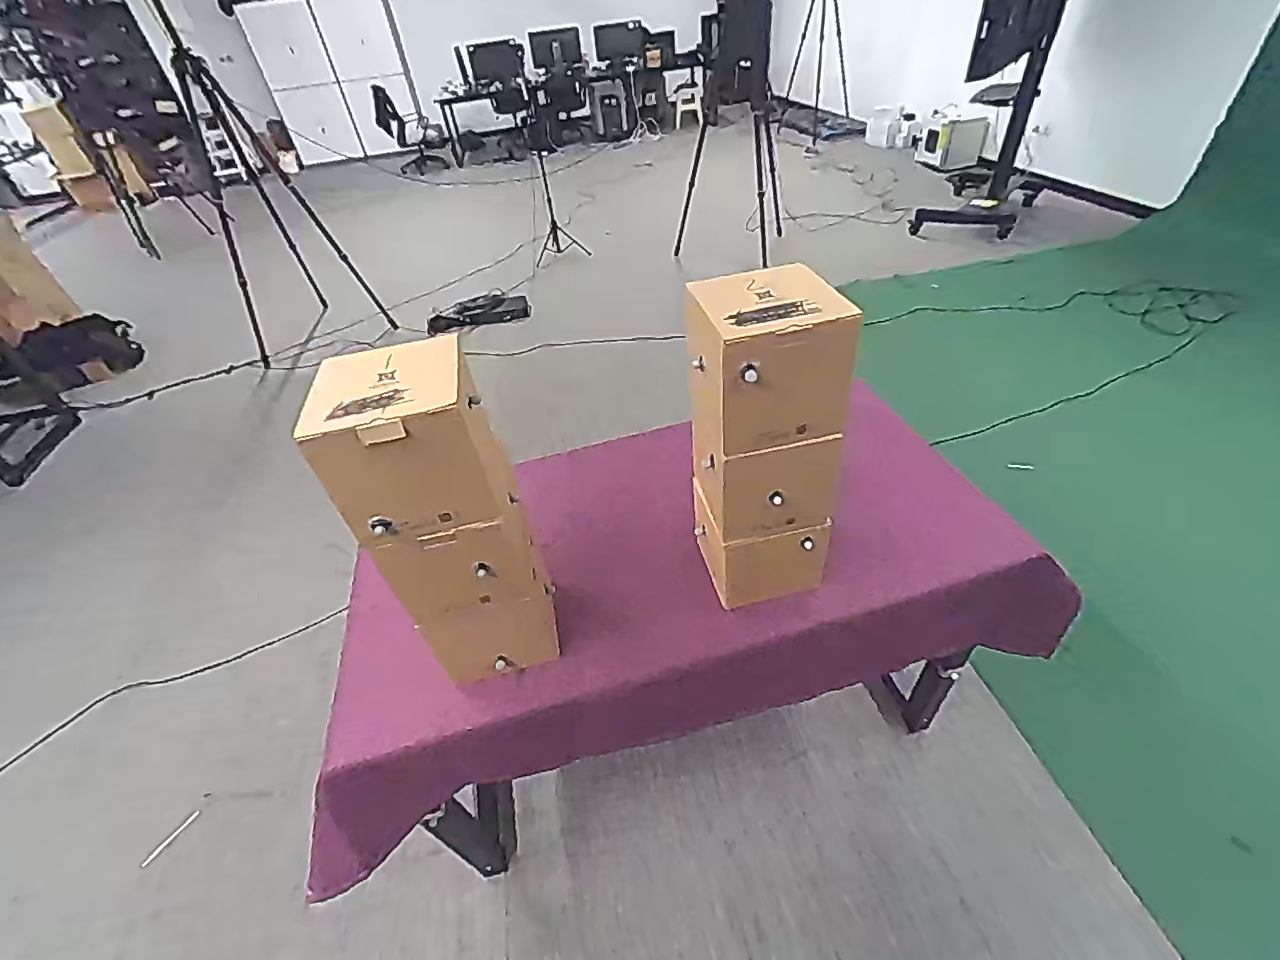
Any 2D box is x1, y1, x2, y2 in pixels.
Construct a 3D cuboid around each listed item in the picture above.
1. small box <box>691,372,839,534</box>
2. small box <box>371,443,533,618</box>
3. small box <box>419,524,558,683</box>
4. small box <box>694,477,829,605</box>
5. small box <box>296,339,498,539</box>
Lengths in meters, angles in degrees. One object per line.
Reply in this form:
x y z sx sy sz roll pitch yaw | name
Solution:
0.181 -0.035 0.820 0.168 0.176 0.179 -11 41 -3 | small box
-0.254 0.077 0.773 0.168 0.176 0.179 -12 41 -4 | small box
-0.235 0.201 0.878 0.179 0.176 0.168 -13 42 -6 | small box
0.201 0.090 0.926 0.179 0.176 0.168 -13 42 -5 | small box
-0.280 -0.046 0.667 0.168 0.176 0.179 -14 41 -7 | small box
